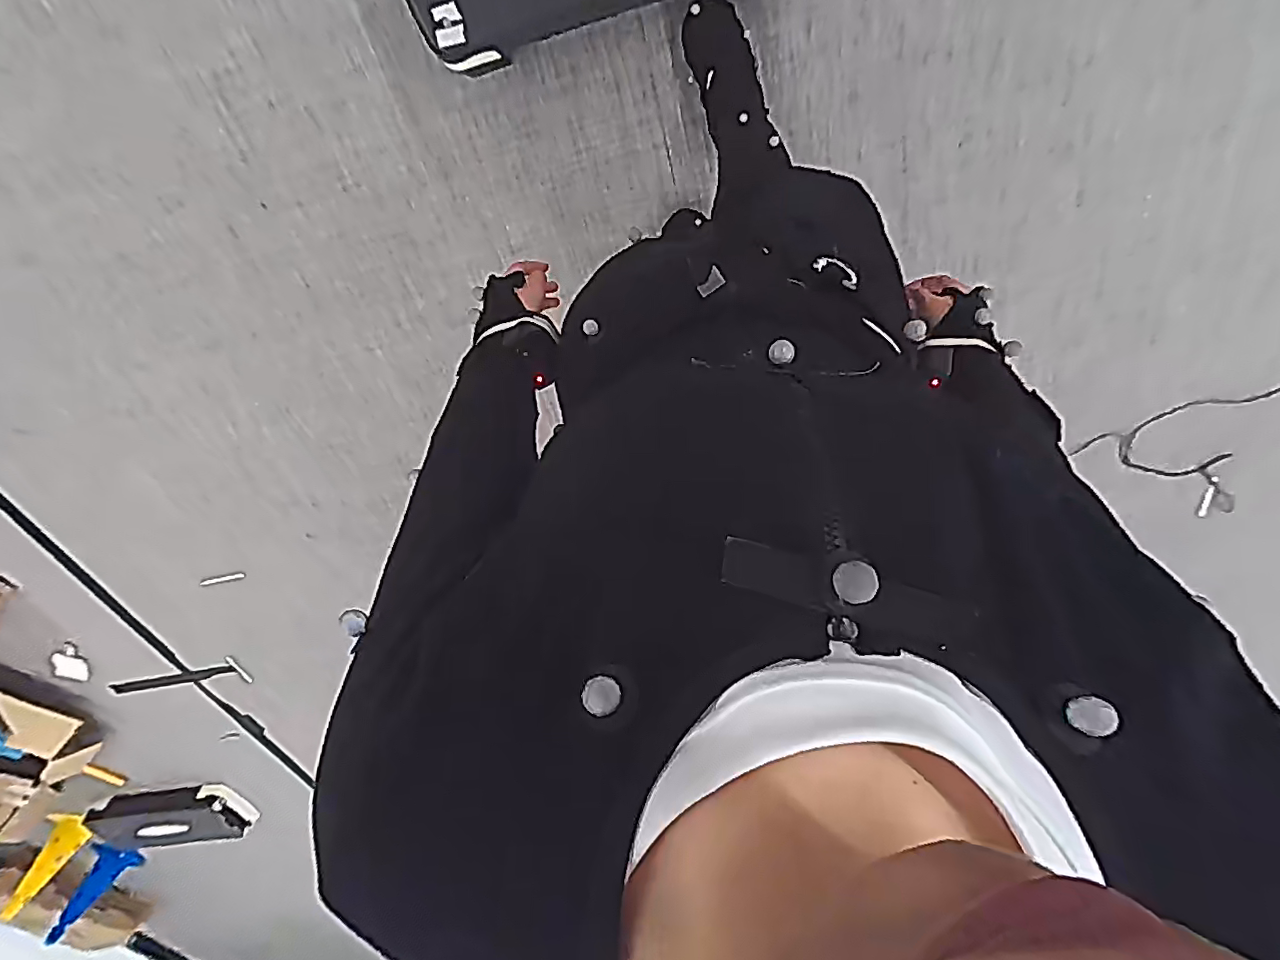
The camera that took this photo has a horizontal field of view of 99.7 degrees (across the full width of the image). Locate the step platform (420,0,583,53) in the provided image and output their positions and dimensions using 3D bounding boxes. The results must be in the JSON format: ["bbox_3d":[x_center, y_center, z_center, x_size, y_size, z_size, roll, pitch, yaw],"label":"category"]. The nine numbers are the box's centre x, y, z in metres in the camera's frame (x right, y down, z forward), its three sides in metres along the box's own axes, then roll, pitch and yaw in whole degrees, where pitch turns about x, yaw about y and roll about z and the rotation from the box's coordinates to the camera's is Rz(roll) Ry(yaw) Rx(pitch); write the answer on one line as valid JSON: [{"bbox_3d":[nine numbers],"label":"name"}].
[{"bbox_3d":[-0.044,-0.915,0.808,0.684,0.204,0.286,-12,121,9],"label":"step platform"}]
